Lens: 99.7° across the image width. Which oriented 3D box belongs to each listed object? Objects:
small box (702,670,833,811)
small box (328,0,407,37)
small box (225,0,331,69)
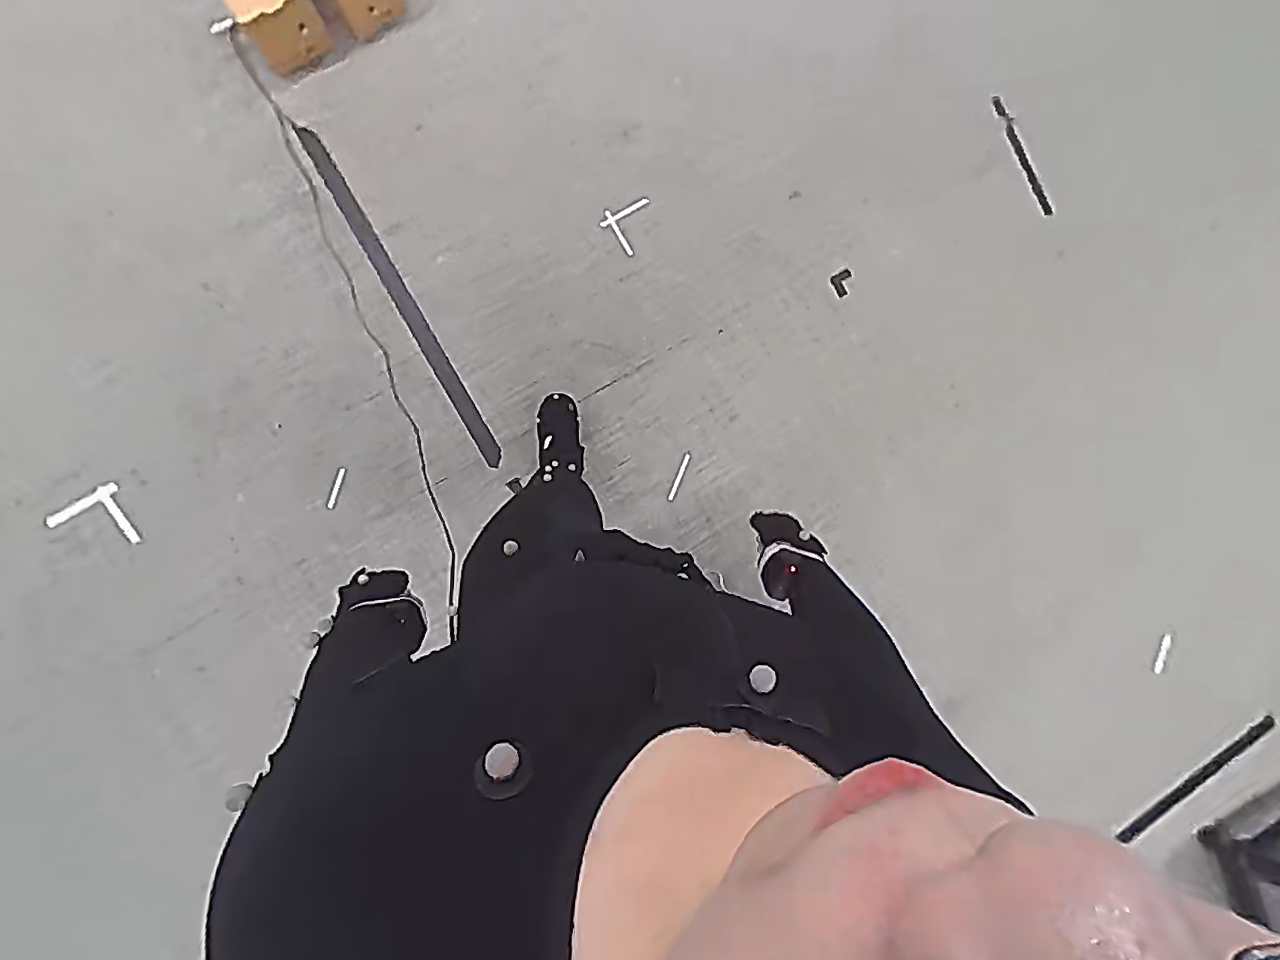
[{"bbox_3d":[0.248,0.513,1.102,0.168,0.176,0.179,-34,94,-6],"label":"small box"},{"bbox_3d":[-0.712,-1.264,1.333,0.168,0.176,0.179,-39,95,-6],"label":"small box"},{"bbox_3d":[-0.894,-1.148,1.307,0.168,0.176,0.179,-35,94,-7],"label":"small box"}]
